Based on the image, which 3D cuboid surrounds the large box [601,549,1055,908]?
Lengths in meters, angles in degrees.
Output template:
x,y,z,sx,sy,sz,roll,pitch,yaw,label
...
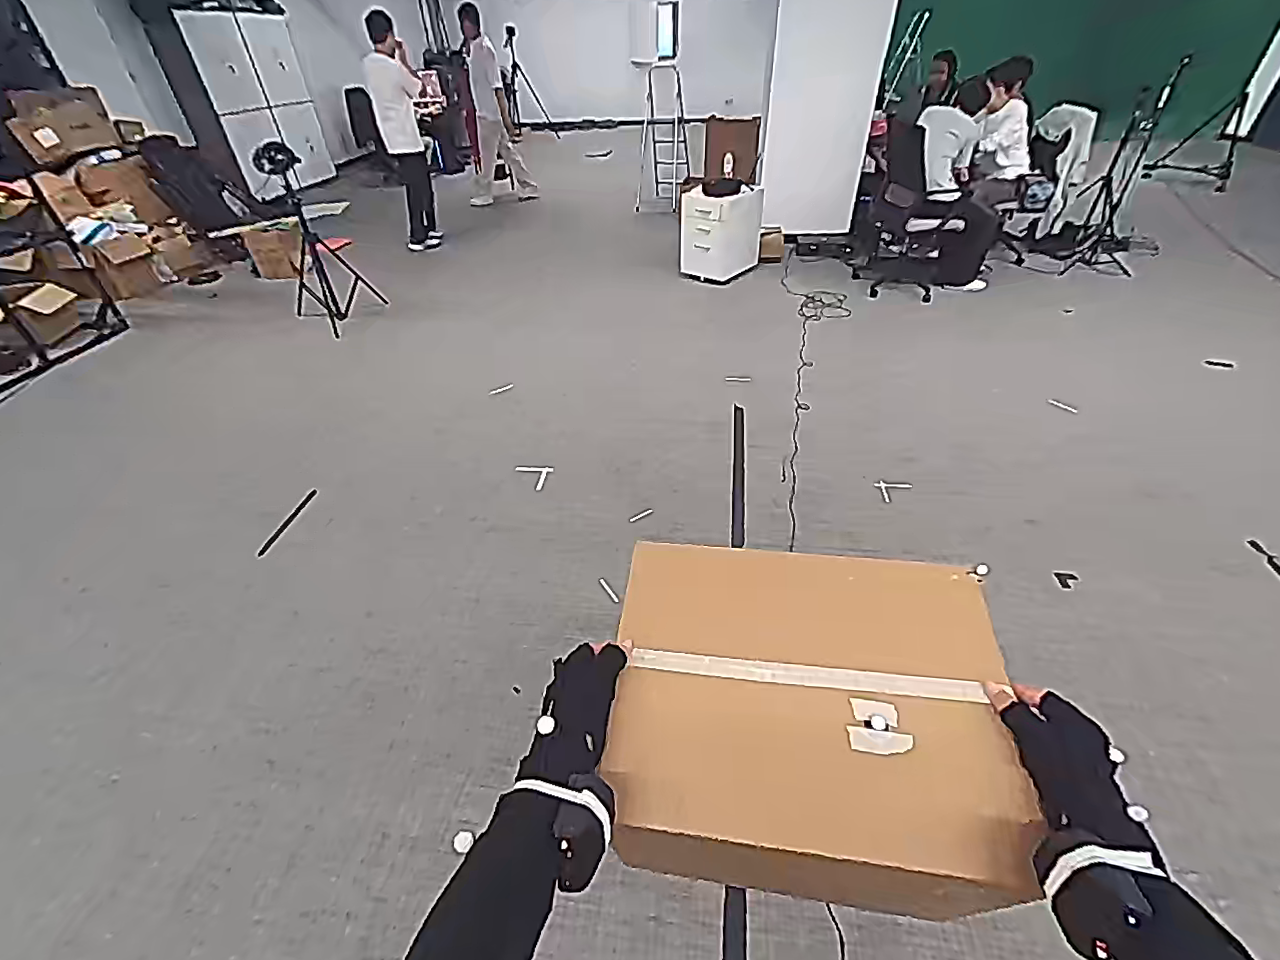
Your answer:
x,y,z,sx,sy,sz,roll,pitch,yaw,label
0.185,0.311,0.689,0.408,0.320,0.320,3,49,9,large box
